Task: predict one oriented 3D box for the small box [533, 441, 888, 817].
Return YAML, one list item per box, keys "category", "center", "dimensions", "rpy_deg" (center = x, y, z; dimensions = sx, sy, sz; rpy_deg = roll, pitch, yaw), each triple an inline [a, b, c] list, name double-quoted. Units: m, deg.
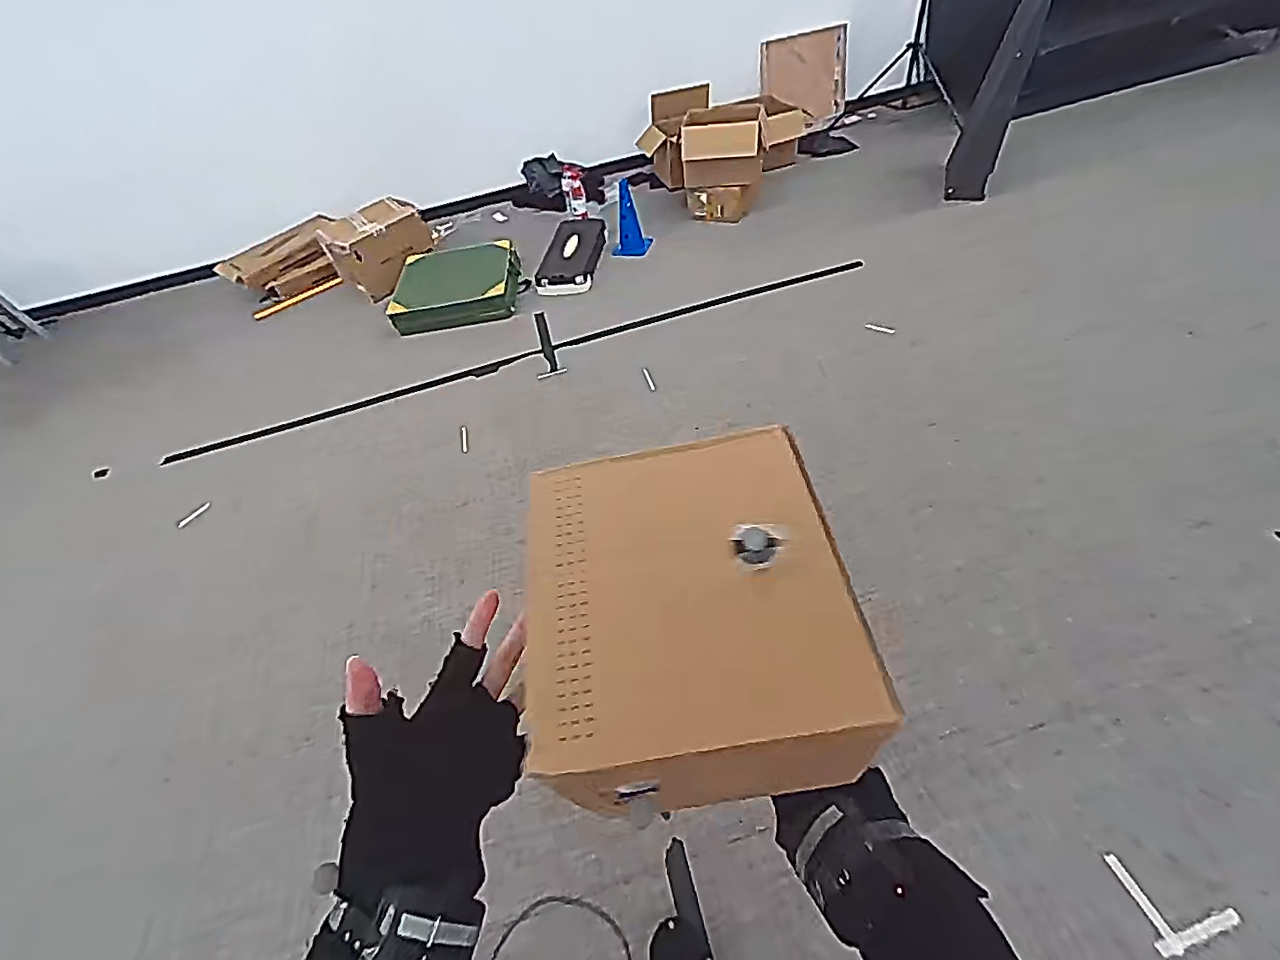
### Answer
- category: "small box"
  center: [0.033, 0.102, 0.359]
  dimensions: [0.176, 0.168, 0.179]
  rpy_deg: [-11, 51, 4]
